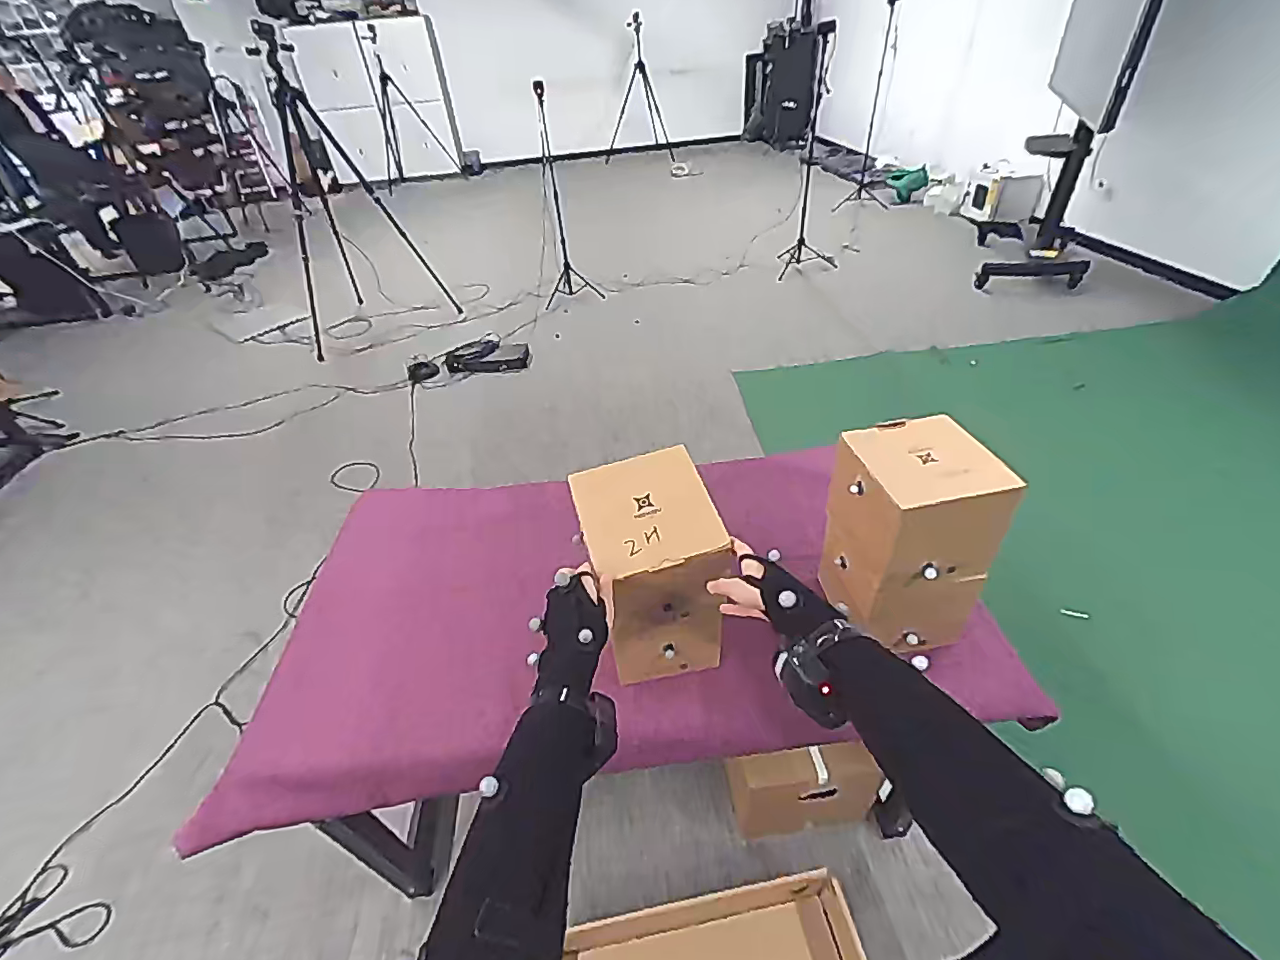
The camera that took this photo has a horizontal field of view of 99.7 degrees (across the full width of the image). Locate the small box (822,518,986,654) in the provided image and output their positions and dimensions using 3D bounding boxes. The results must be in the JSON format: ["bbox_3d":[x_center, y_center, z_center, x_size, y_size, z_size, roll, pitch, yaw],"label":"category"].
[{"bbox_3d":[0.410,0.153,0.878,0.168,0.176,0.179,-8,39,-1],"label":"small box"}]

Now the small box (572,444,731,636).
[{"bbox_3d":[0.013,0.083,0.742,0.168,0.176,0.179,-16,50,-7],"label":"small box"}]

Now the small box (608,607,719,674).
[{"bbox_3d":[0.030,0.194,0.879,0.168,0.176,0.179,-10,39,-5],"label":"small box"}]

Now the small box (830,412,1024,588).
[{"bbox_3d":[0.390,0.027,0.777,0.168,0.176,0.179,-10,39,-3],"label":"small box"}]
